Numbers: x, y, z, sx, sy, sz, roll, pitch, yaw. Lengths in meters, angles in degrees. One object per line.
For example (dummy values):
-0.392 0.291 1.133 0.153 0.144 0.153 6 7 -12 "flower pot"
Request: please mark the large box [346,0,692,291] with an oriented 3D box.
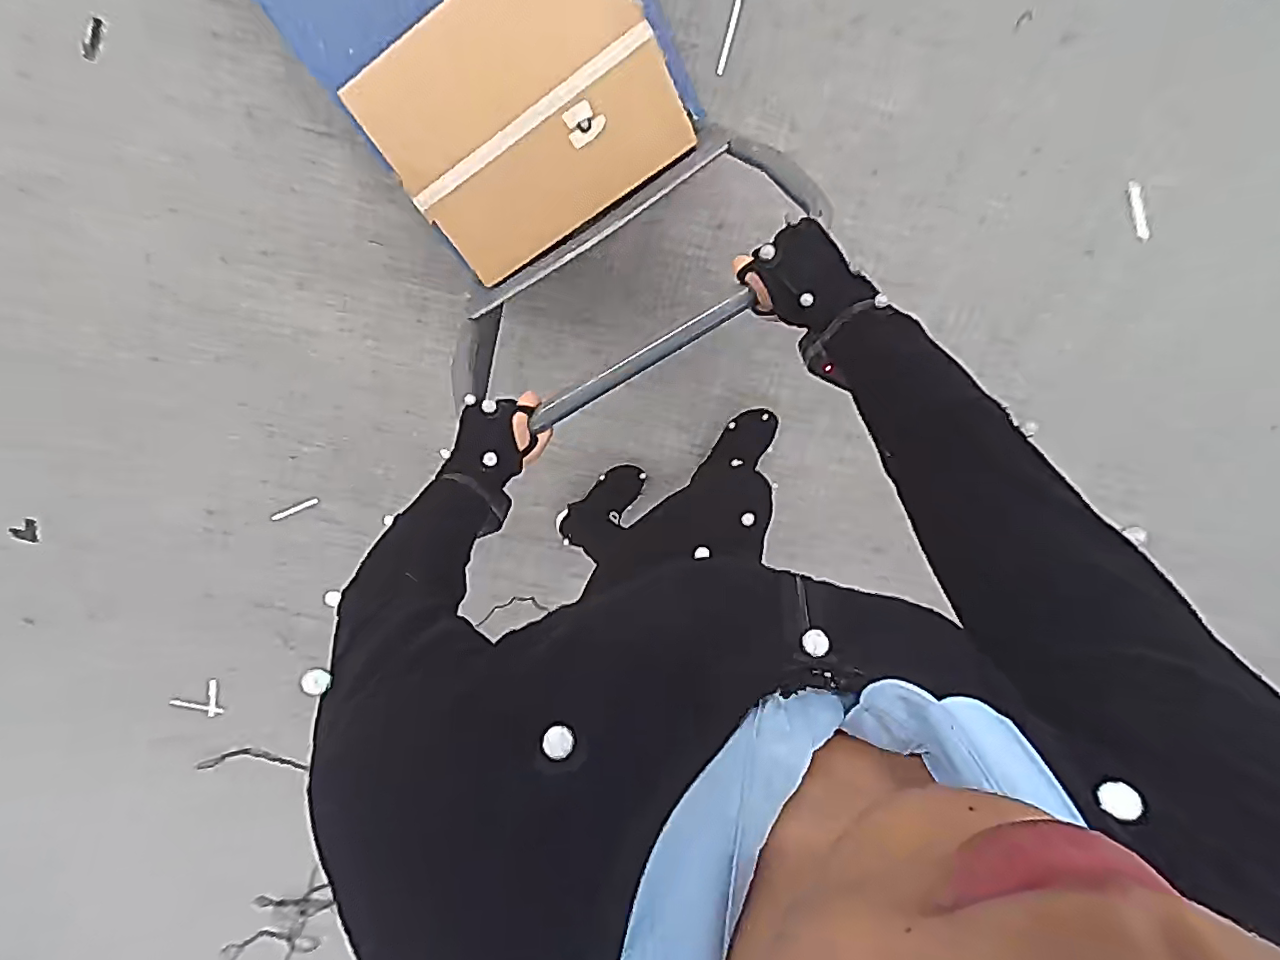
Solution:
-0.184 -0.593 0.900 0.408 0.320 0.320 -31 125 11 "large box"
